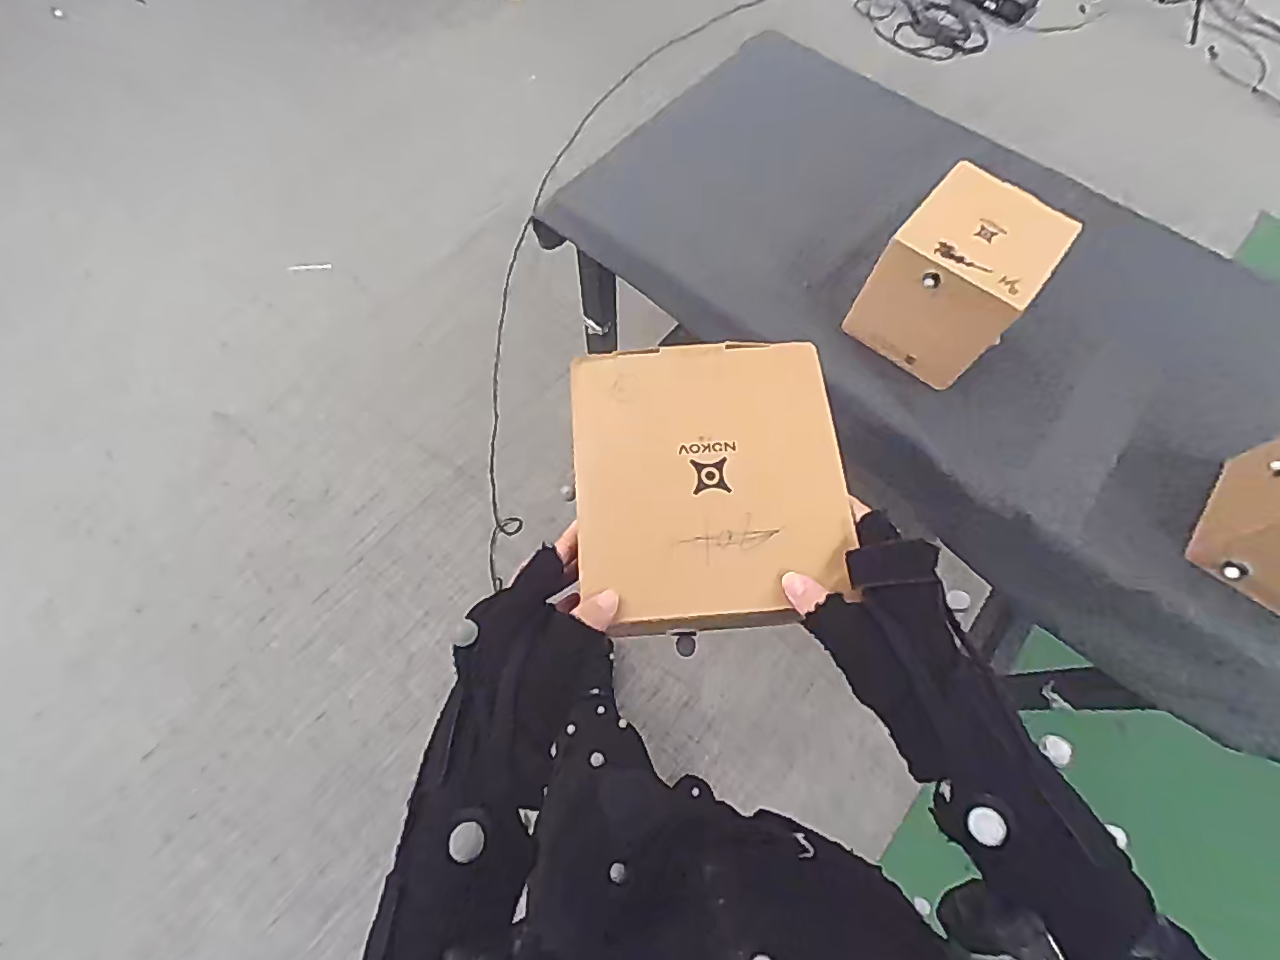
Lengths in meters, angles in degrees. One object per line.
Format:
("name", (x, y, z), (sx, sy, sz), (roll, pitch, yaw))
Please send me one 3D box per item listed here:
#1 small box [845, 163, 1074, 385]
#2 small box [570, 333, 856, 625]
("small box", (0.404, -0.264, 0.713), (0.168, 0.176, 0.179), (38, 71, 13))
("small box", (0.038, 0.012, 0.415), (0.168, 0.176, 0.179), (-5, 73, -2))
